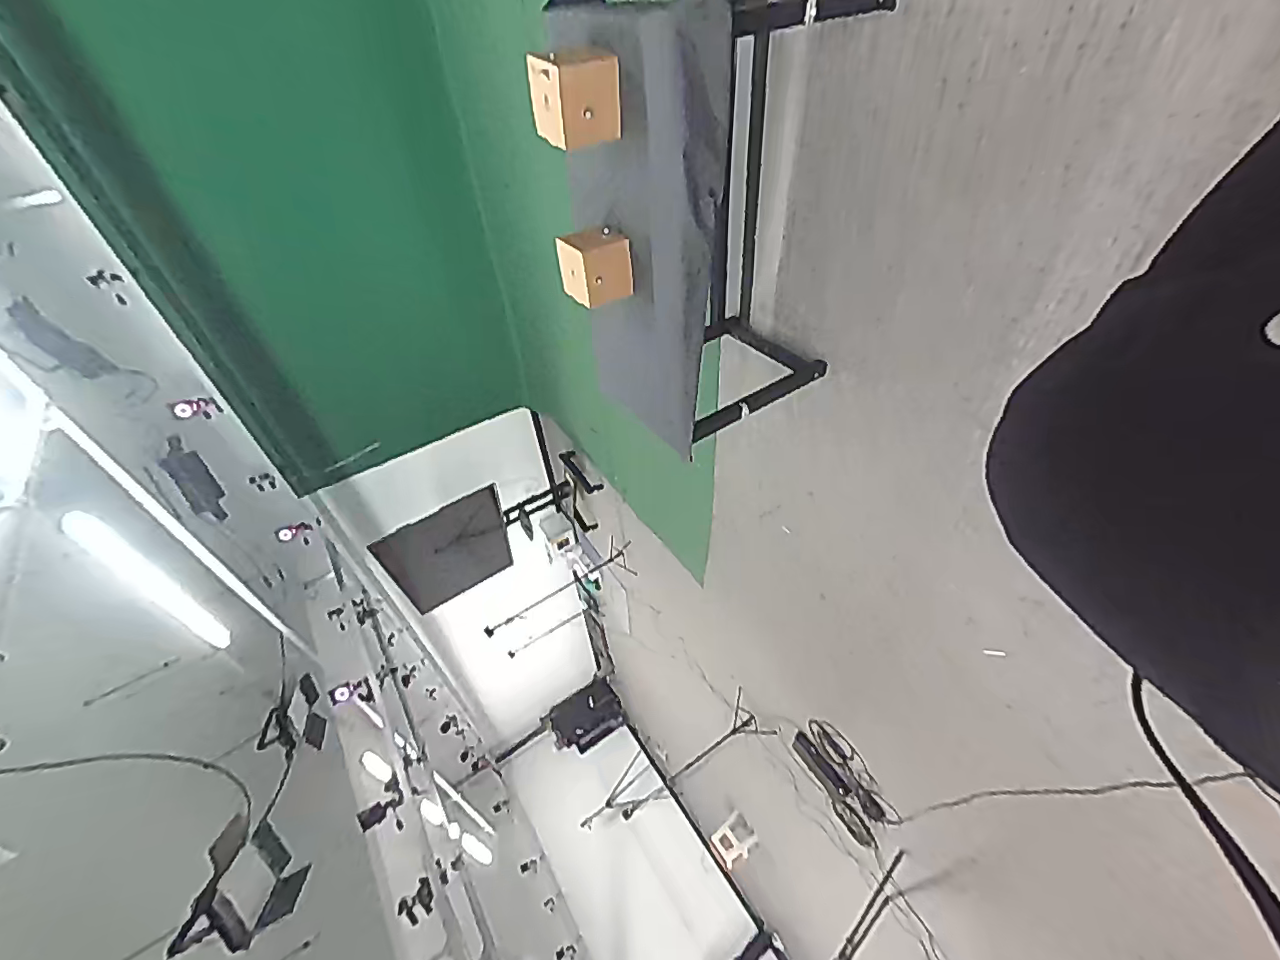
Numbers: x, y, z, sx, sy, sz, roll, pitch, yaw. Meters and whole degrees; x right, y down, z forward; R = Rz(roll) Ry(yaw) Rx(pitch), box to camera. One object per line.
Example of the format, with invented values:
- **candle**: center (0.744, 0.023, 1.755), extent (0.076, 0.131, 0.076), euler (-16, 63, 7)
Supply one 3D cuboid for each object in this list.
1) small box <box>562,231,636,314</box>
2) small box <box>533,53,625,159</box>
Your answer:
- **small box**: center (-0.122, -0.653, 1.694), extent (0.168, 0.176, 0.179), euler (43, 150, 39)
- **small box**: center (-0.149, -0.958, 1.382), extent (0.168, 0.176, 0.179), euler (48, 155, 33)
